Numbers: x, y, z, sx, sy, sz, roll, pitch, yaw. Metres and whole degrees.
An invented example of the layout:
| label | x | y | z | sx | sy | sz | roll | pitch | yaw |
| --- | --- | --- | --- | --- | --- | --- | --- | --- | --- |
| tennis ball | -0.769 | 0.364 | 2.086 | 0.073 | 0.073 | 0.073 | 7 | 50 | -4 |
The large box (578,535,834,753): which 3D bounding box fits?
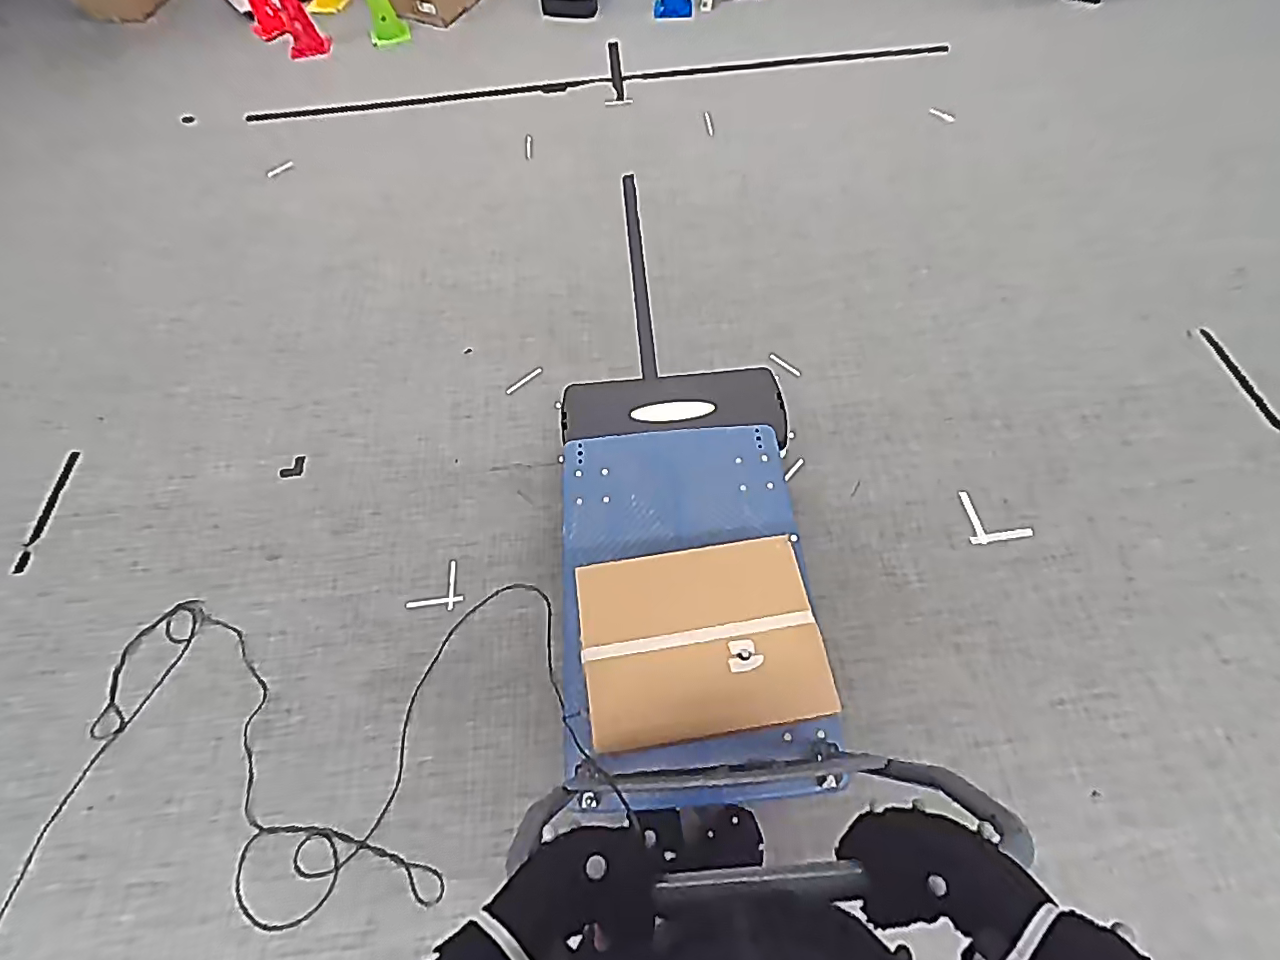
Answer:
| label | x | y | z | sx | sy | sz | roll | pitch | yaw |
| --- | --- | --- | --- | --- | --- | --- | --- | --- | --- |
| large box | 0.106 | 0.340 | 1.083 | 0.408 | 0.320 | 0.320 | -9 | 63 | -3 |
